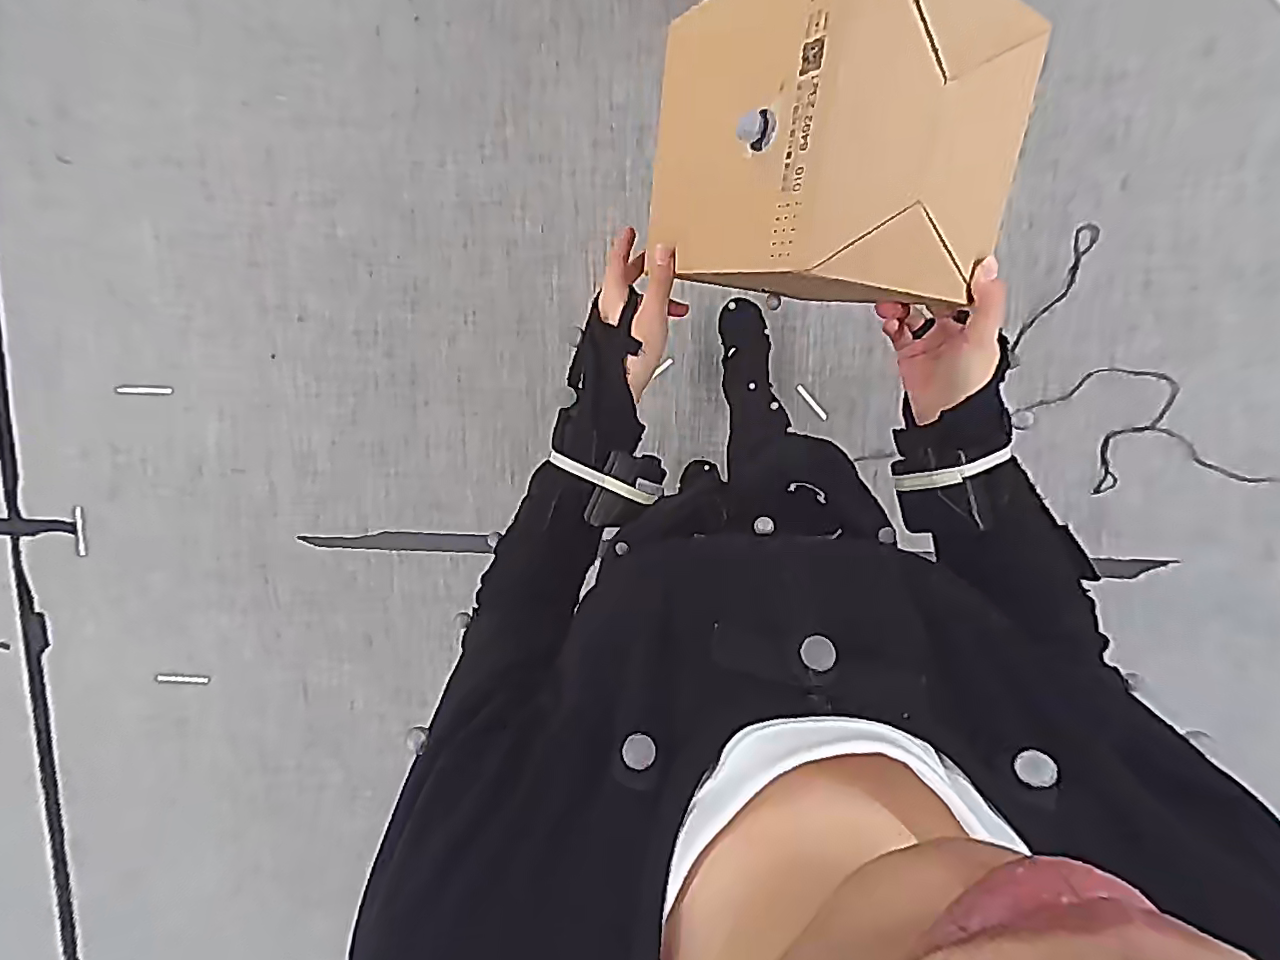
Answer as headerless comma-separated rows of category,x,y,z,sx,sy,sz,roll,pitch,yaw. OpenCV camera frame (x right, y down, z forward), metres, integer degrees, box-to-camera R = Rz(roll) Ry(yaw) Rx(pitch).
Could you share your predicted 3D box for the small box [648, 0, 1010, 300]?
small box,0.128,-0.223,0.385,0.179,0.176,0.168,-4,109,-32
